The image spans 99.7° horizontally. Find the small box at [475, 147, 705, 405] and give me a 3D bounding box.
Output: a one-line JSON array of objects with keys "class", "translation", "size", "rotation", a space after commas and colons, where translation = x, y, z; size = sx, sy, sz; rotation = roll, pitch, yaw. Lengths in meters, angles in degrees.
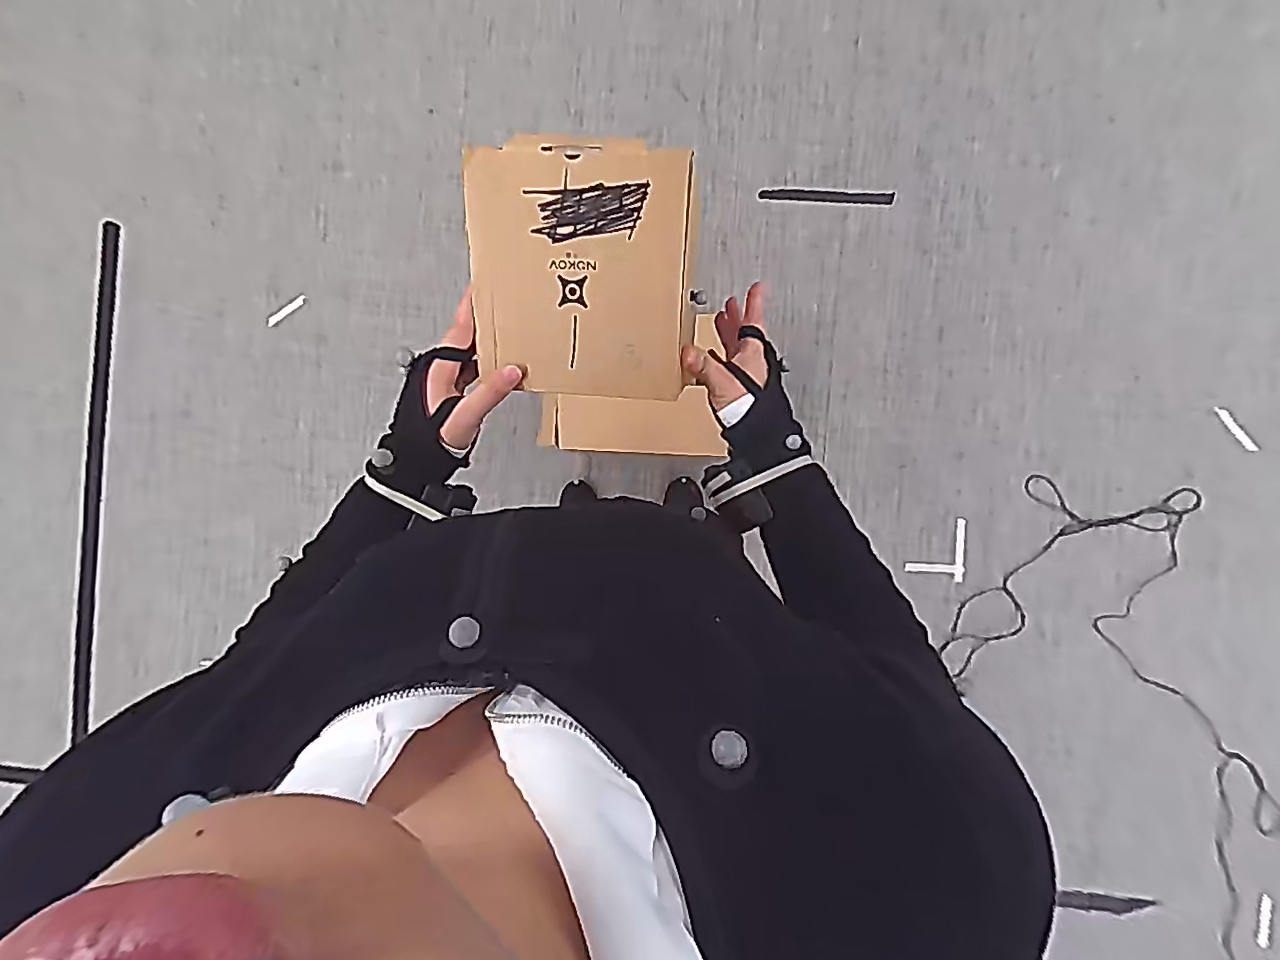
[{"class": "small box", "translation": [-0.032, -0.170, 0.477], "size": [0.168, 0.176, 0.179], "rotation": [5, 108, 8]}]
